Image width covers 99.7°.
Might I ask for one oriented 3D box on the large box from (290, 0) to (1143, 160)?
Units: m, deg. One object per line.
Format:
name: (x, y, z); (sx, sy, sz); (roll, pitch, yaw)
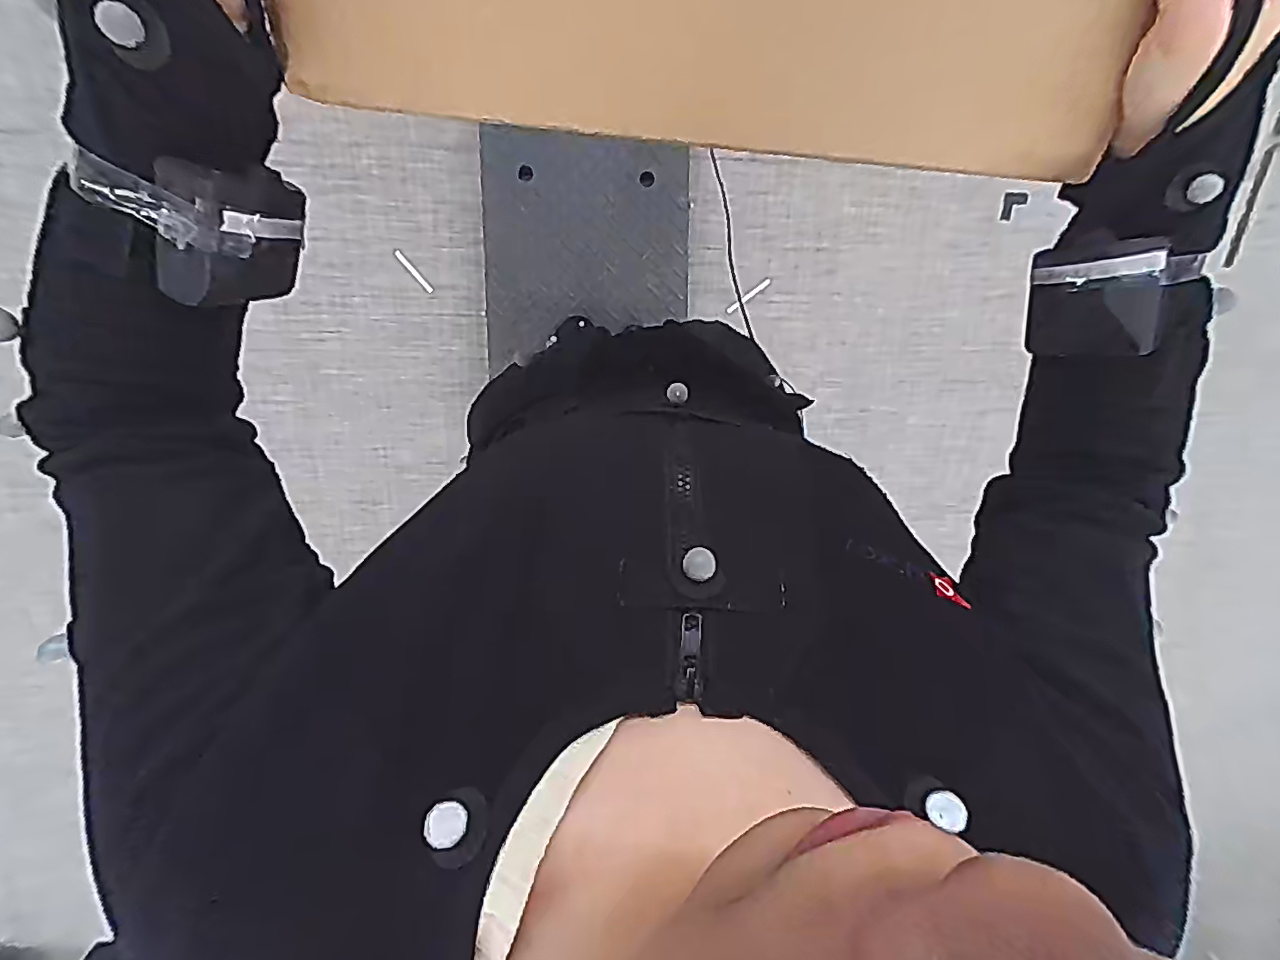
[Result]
large box: (0.038, -0.390, 0.311); (0.408, 0.320, 0.320); (1, 126, -8)
